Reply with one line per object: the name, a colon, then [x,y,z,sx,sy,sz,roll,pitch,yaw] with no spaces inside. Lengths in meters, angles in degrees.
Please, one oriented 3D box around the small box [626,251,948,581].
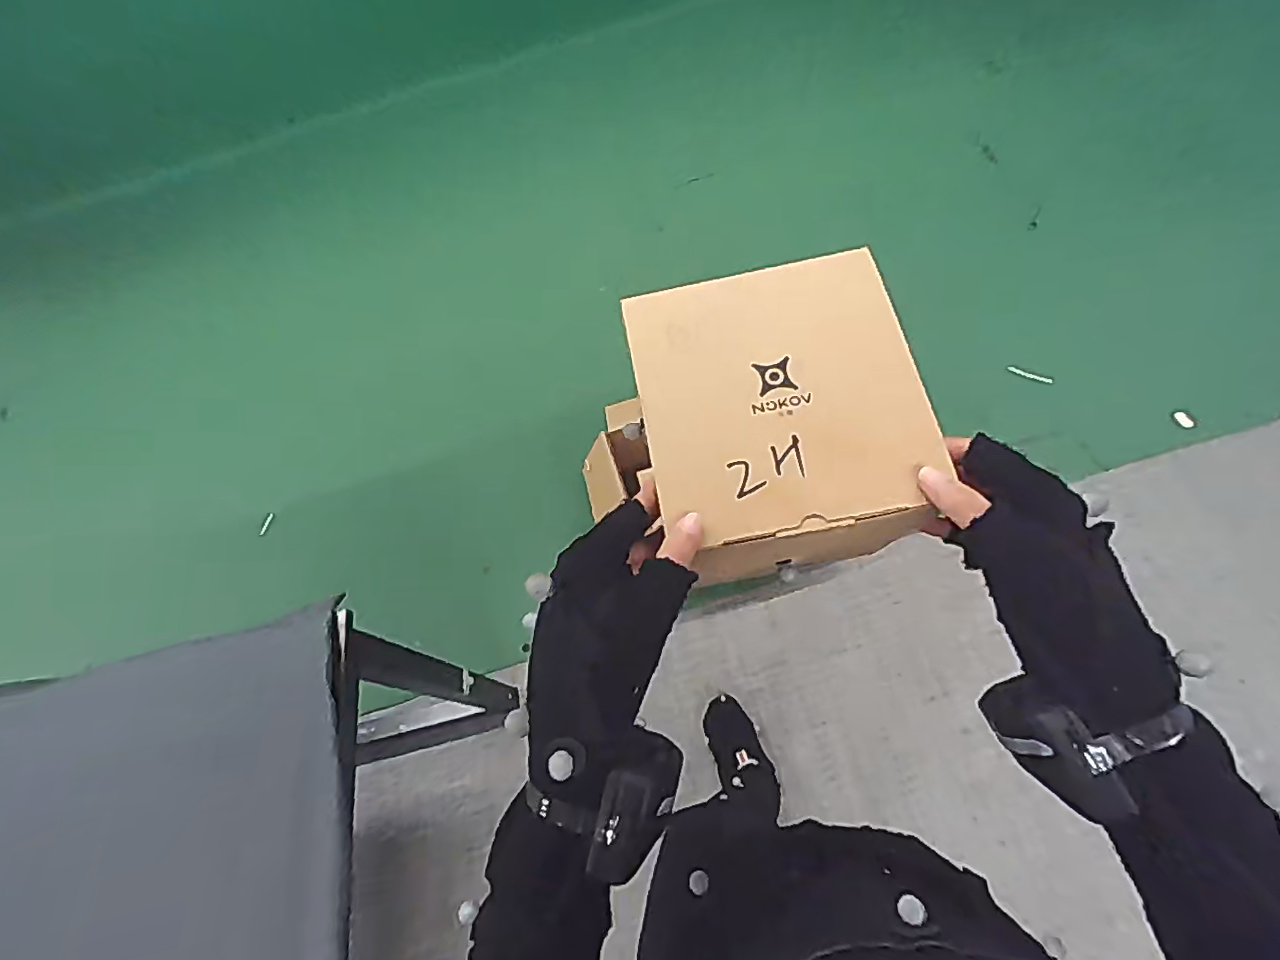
small box: [0.090,-0.033,0.411,0.168,0.176,0.179,-11,70,3]
